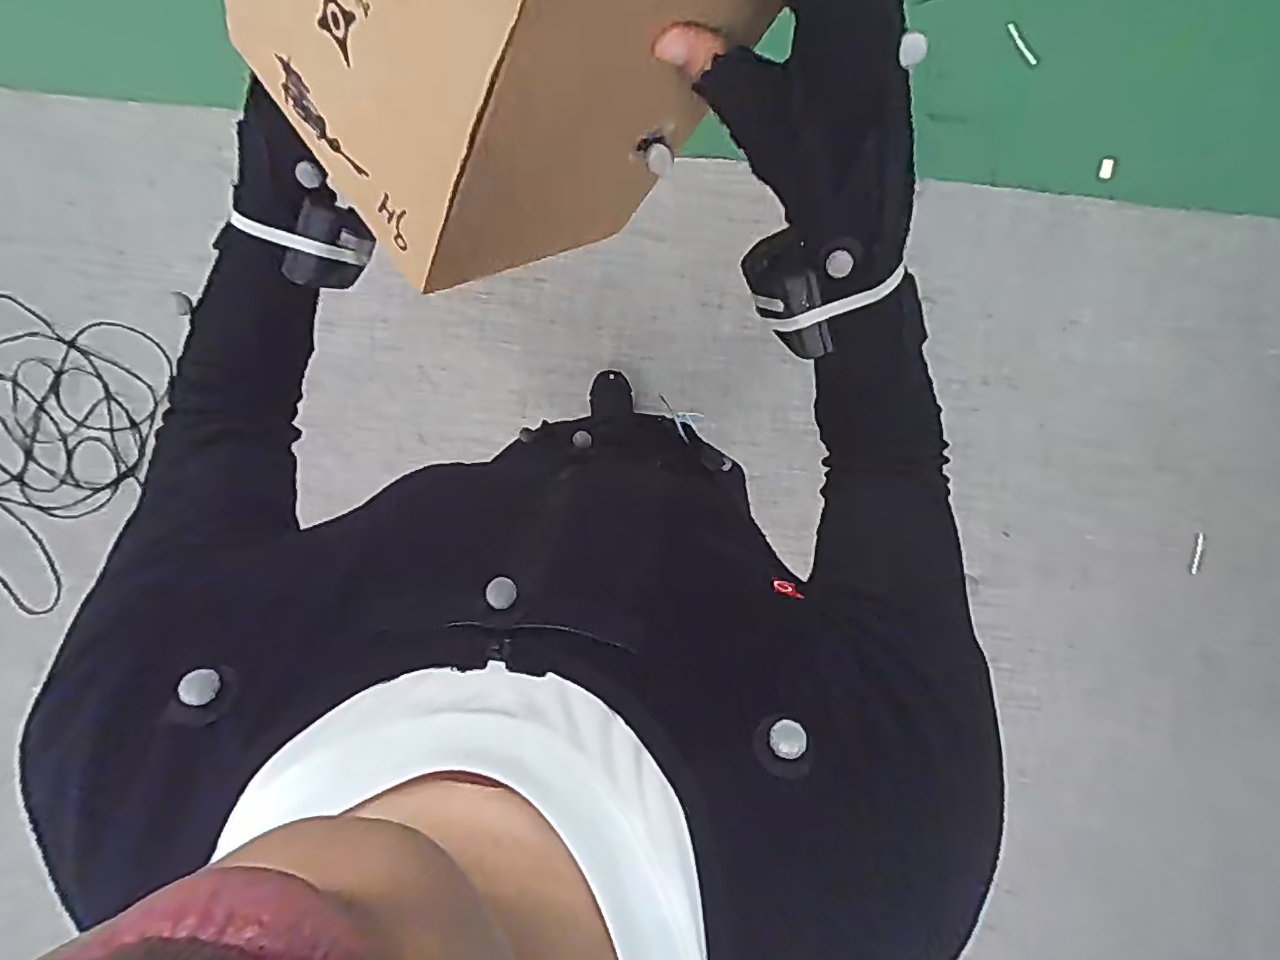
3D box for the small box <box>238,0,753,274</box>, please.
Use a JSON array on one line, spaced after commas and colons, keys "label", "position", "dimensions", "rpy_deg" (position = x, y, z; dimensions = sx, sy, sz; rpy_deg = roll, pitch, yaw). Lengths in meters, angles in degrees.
[{"label": "small box", "position": [-0.066, -0.242, 0.275], "dimensions": [0.176, 0.179, 0.168], "rpy_deg": [-37, 93, -39]}]
